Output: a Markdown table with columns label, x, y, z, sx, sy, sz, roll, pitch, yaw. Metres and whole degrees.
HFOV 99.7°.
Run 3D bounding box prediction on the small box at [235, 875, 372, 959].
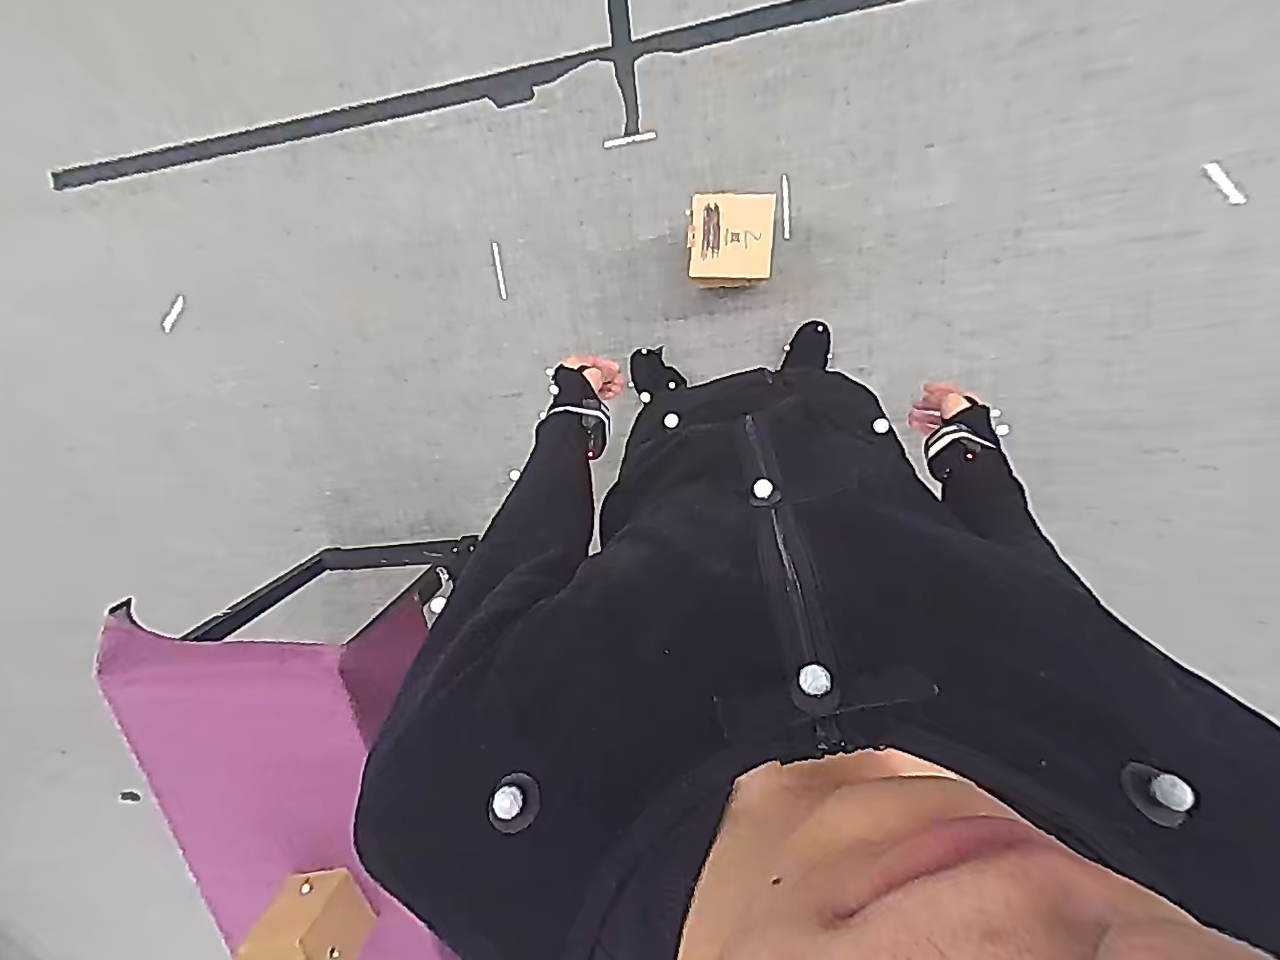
| label | x | y | z | sx | sy | sz | roll | pitch | yaw |
| --- | --- | --- | --- | --- | --- | --- | --- | --- | --- |
| small box | -0.756 | 1.052 | 1.236 | 0.168 | 0.176 | 0.179 | -16 | 104 | 11 |

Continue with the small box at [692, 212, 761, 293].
| label | x | y | z | sx | sy | sz | roll | pitch | yaw |
| --- | --- | --- | --- | --- | --- | --- | --- | --- | --- |
| small box | 0.220 | -0.576 | 1.388 | 0.168 | 0.176 | 0.179 | -1 | 106 | 7 |
